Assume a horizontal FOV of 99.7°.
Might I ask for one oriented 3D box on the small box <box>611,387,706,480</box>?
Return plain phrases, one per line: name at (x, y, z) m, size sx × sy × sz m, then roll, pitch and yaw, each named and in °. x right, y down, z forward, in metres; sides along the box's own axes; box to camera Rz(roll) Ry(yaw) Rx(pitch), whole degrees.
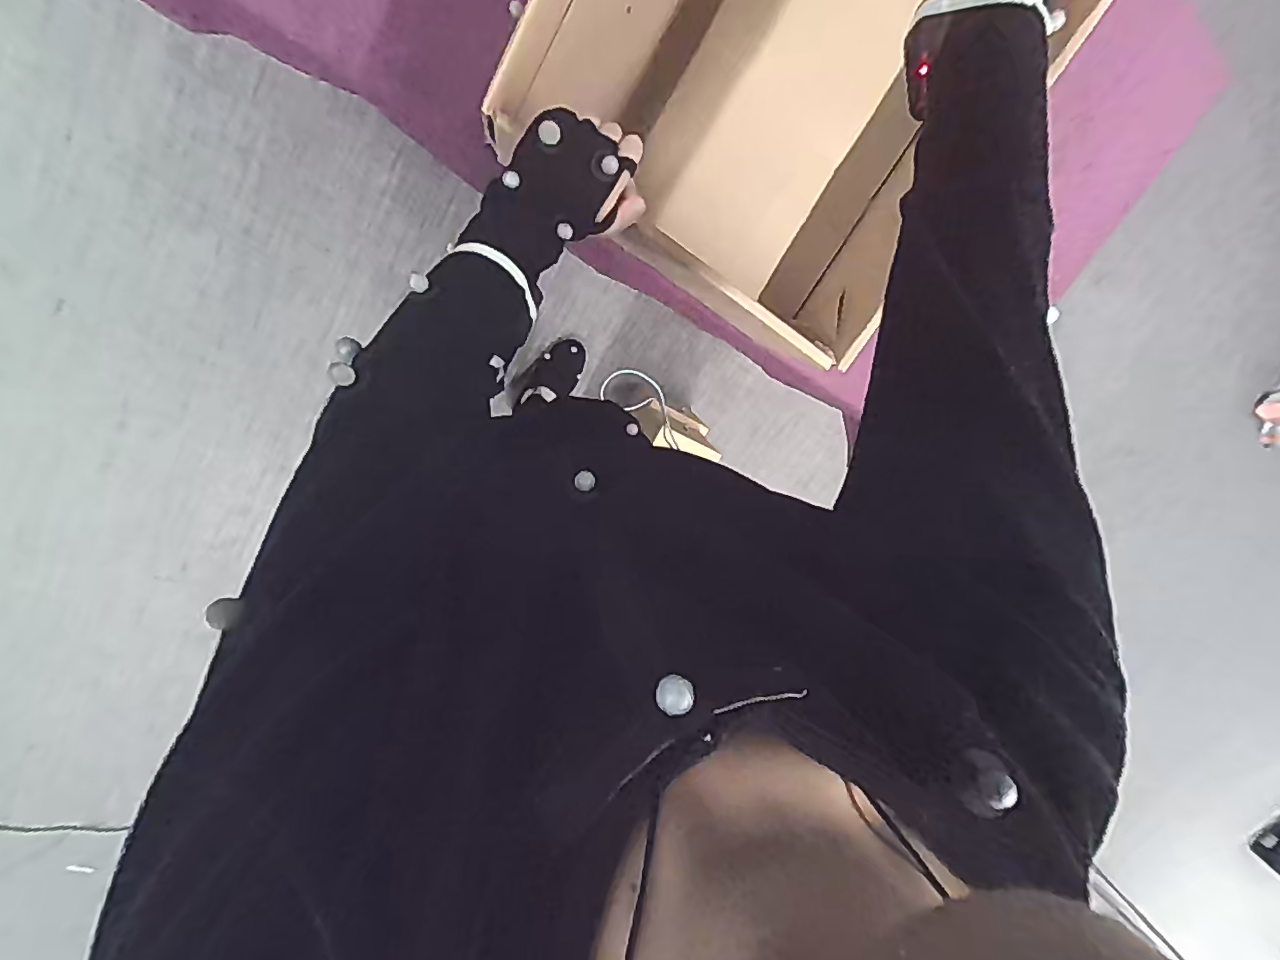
small box at (0.043, -0.130, 1.443) m, size 0.179 × 0.176 × 0.168 m, roll 25°, pitch 106°, yaw -21°
